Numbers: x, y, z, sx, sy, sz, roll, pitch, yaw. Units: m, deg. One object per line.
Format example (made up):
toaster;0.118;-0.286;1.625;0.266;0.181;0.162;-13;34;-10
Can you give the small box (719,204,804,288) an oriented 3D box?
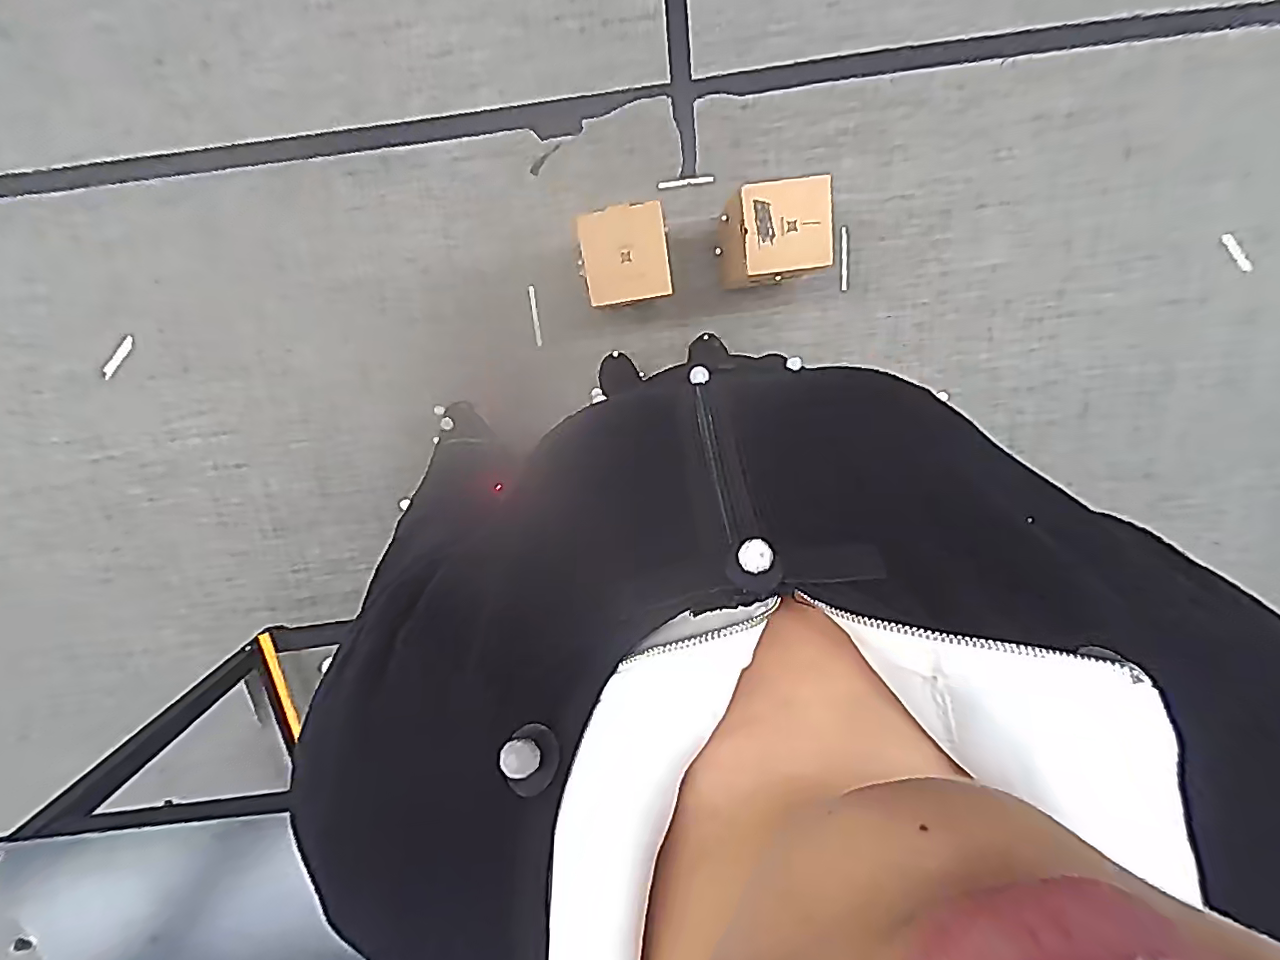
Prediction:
small box;0.285;-0.554;1.285;0.168;0.176;0.179;-6;107;-1

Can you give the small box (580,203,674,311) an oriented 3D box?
small box;-0.025;-0.458;1.134;0.168;0.176;0.179;-9;107;3

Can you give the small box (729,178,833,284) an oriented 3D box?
small box;0.285;-0.509;1.126;0.179;0.176;0.168;-7;106;-1
